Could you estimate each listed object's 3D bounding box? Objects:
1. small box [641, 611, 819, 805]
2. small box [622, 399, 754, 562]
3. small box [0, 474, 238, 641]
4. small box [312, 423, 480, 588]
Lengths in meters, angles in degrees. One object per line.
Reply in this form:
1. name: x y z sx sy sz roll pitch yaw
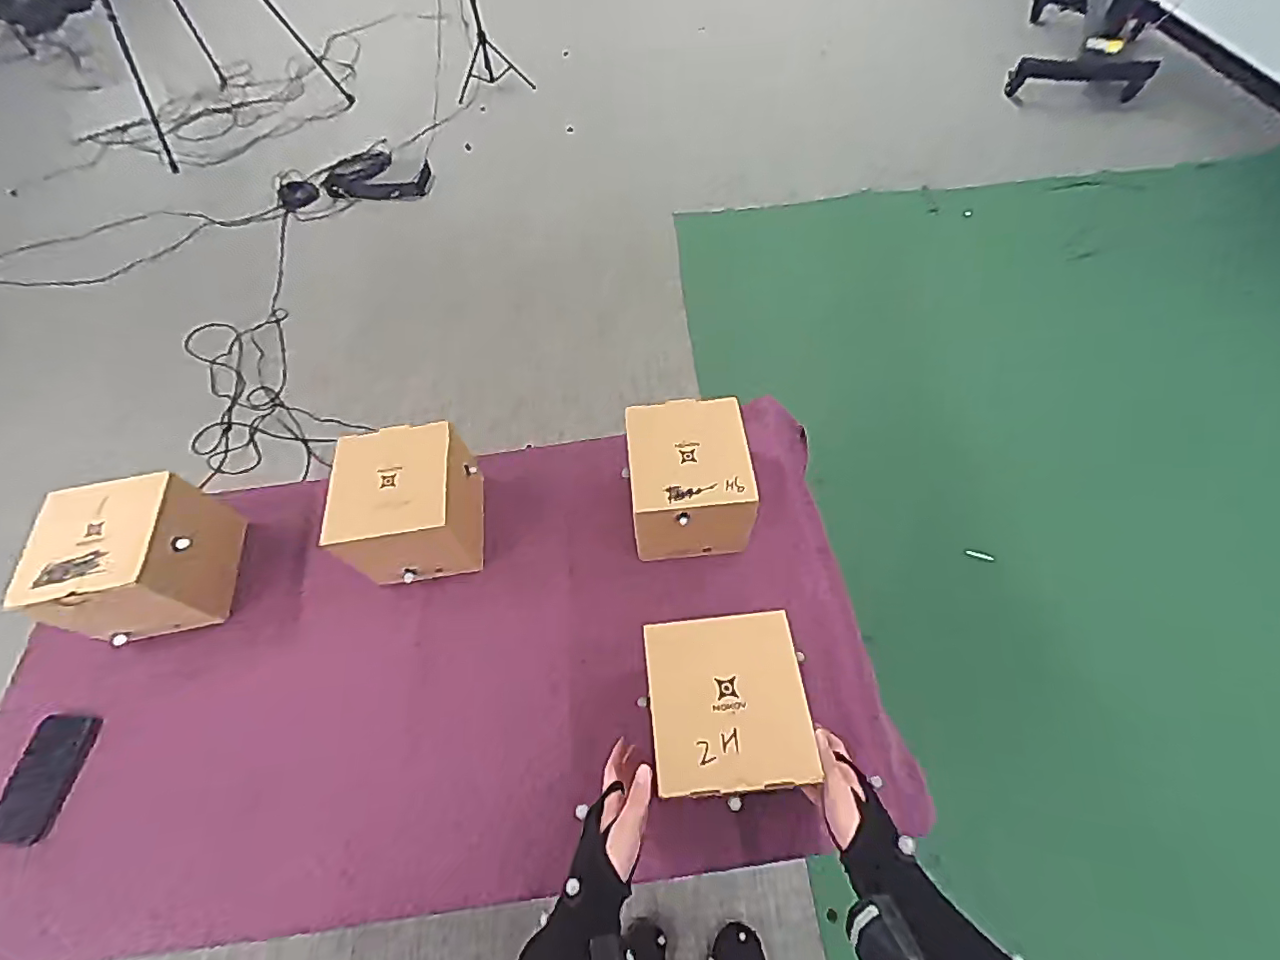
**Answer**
1. small box: 0.092 0.271 0.633 0.168 0.176 0.179 -7 58 1
2. small box: 0.064 0.004 0.801 0.168 0.176 0.179 -6 58 1
3. small box: -0.726 0.120 0.778 0.168 0.176 0.179 -11 58 -4
4. small box: -0.346 0.042 0.804 0.168 0.176 0.179 -9 59 -1
